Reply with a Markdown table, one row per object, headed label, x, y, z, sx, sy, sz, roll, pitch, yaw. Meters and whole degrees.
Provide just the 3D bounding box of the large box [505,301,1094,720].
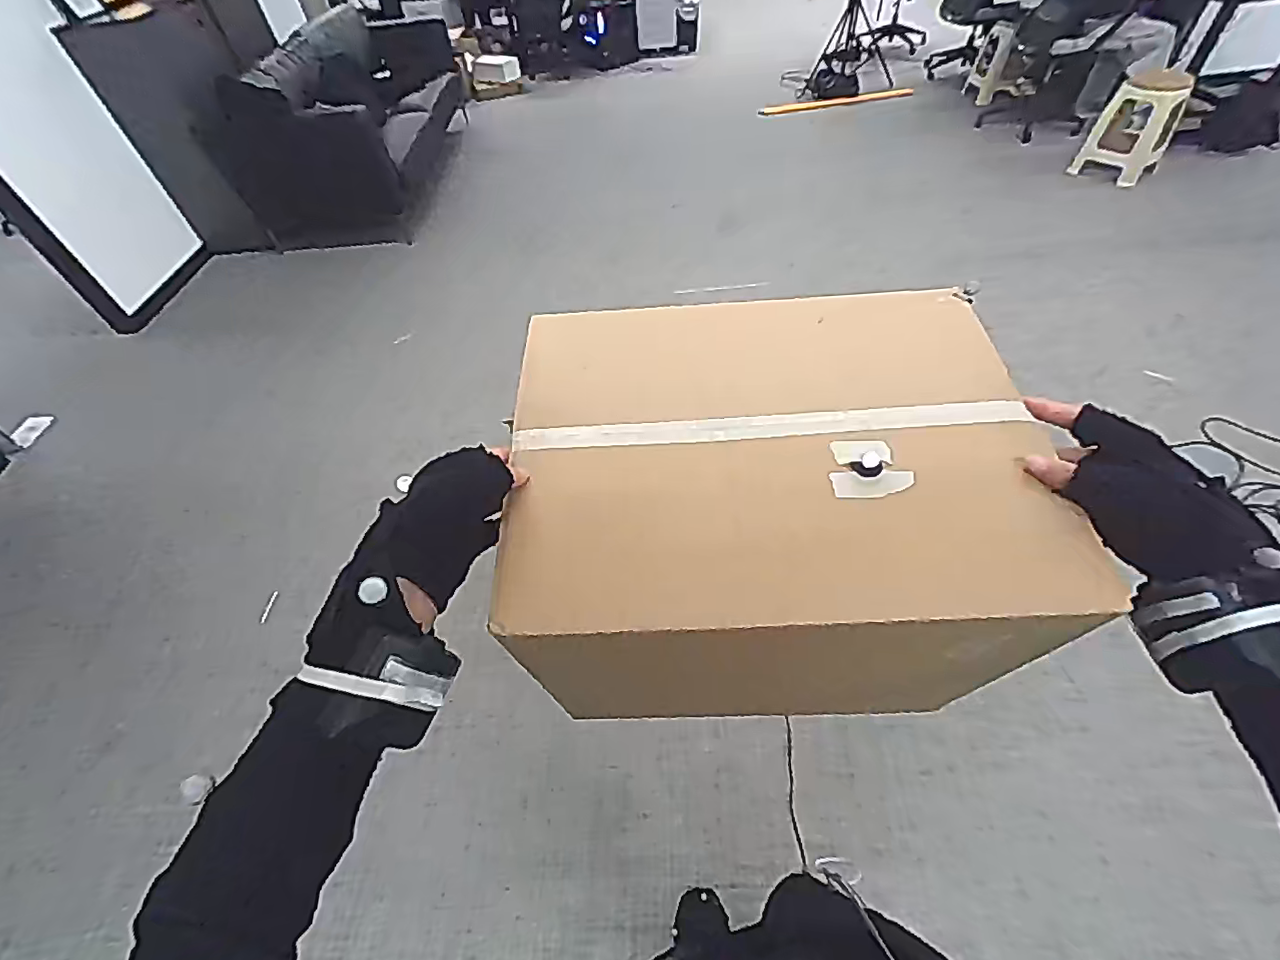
| label | x | y | z | sx | sy | sz | roll | pitch | yaw |
| --- | --- | --- | --- | --- | --- | --- | --- | --- | --- |
| large box | 0.107 | 0.050 | 0.567 | 0.408 | 0.320 | 0.320 | -3 | 57 | 3 |
